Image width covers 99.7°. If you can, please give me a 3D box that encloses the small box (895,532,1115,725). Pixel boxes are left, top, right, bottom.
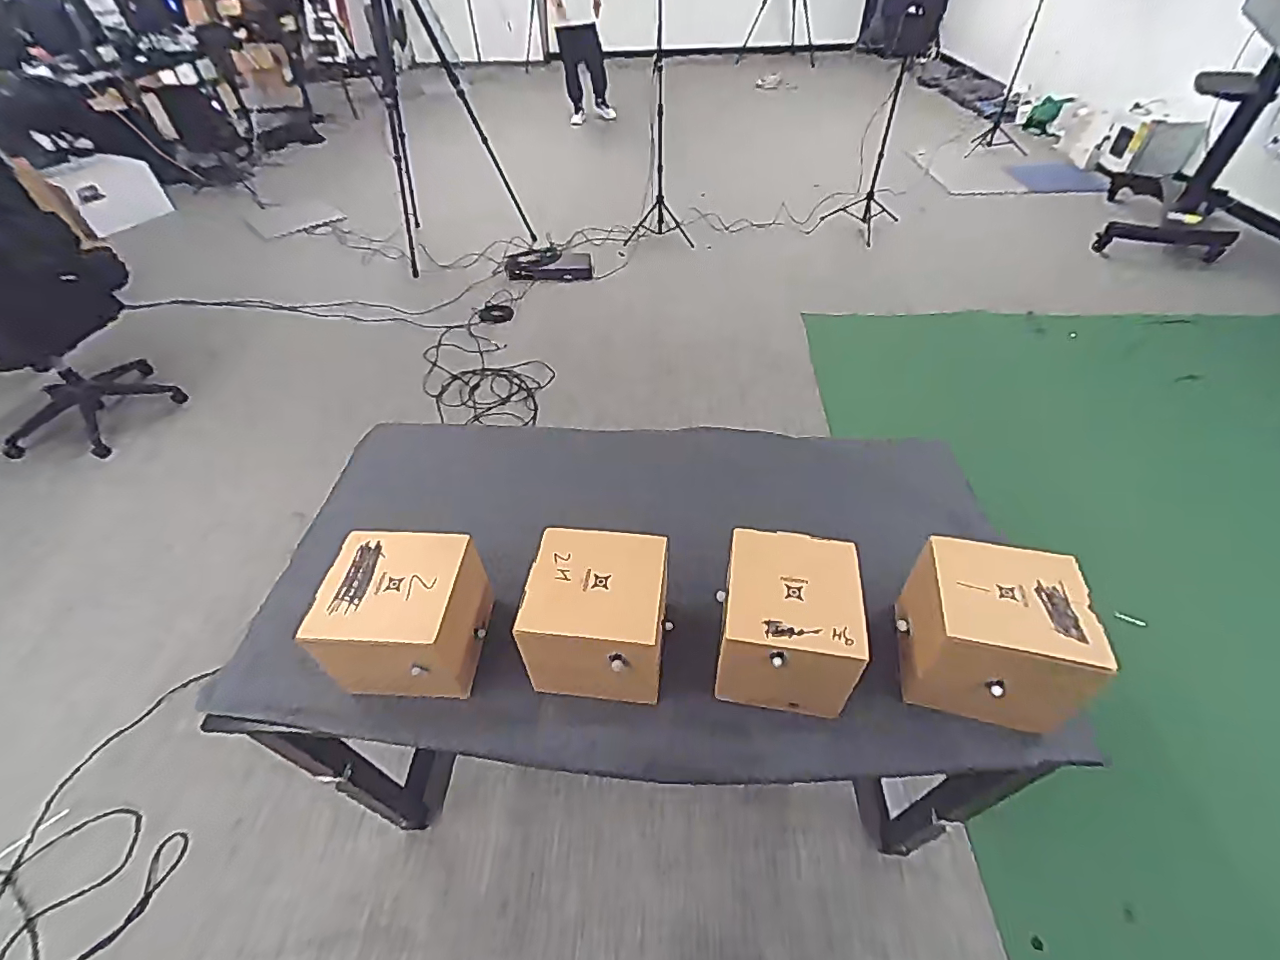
[{"bbox_3d":[0.455,0.197,0.711,0.179,0.176,0.168,10,44,13],"label":"small box"}]

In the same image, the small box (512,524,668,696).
[{"bbox_3d":[-0.055,0.183,0.752,0.179,0.176,0.168,4,45,7],"label":"small box"}]

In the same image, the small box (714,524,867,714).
[{"bbox_3d":[0.195,0.188,0.736,0.168,0.176,0.179,7,45,9],"label":"small box"}]
